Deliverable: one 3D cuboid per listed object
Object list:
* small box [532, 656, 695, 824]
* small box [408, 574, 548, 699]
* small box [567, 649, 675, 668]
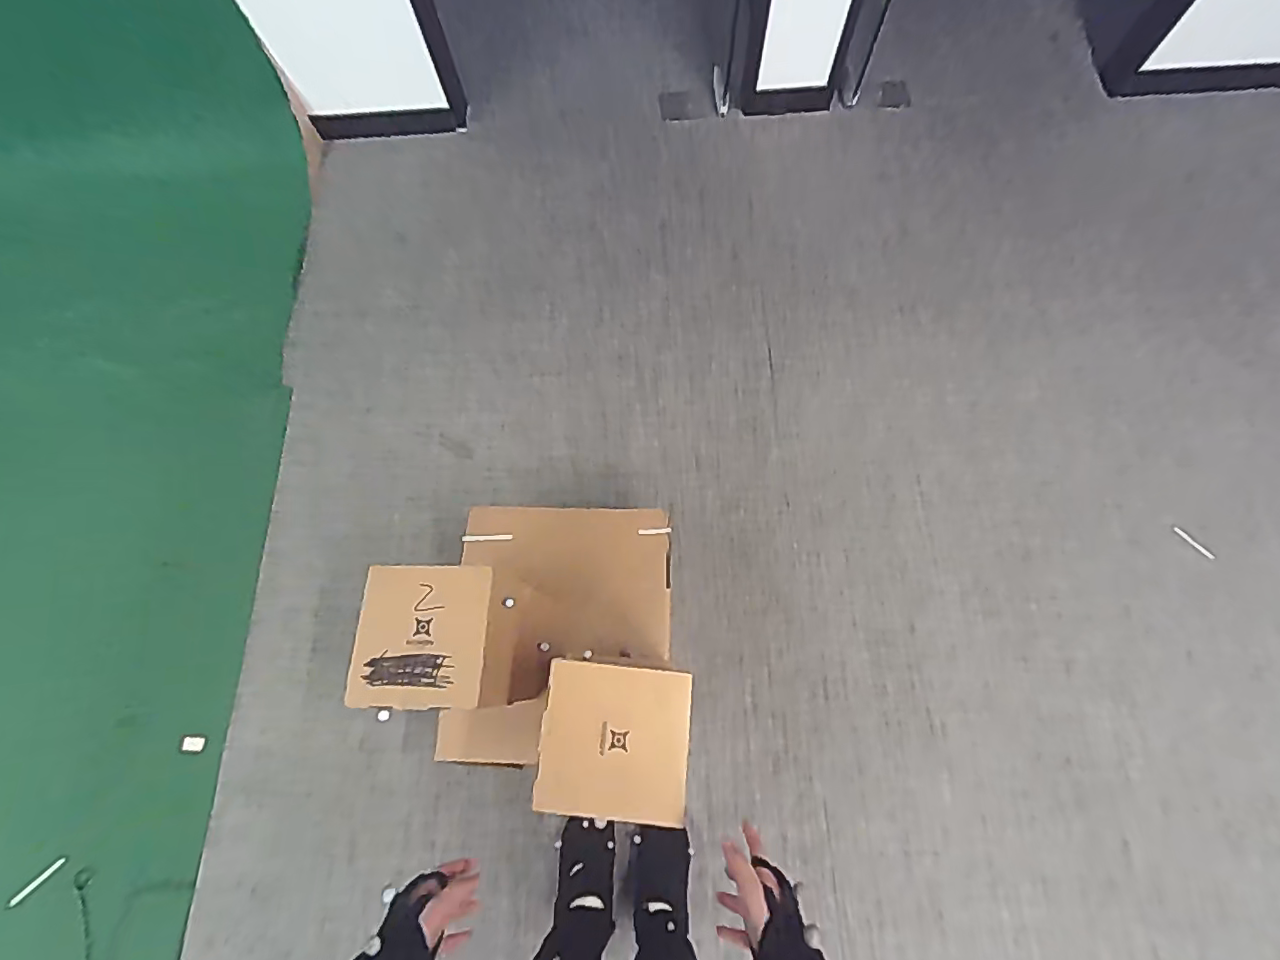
[{"bbox_3d":[-0.028,0.324,0.705,0.179,0.176,0.168,5,71,3],"label":"small box"},{"bbox_3d":[-0.256,0.266,0.905,0.168,0.176,0.179,3,70,4],"label":"small box"},{"bbox_3d":[-0.035,0.370,0.861,0.168,0.176,0.179,5,70,2],"label":"small box"}]
